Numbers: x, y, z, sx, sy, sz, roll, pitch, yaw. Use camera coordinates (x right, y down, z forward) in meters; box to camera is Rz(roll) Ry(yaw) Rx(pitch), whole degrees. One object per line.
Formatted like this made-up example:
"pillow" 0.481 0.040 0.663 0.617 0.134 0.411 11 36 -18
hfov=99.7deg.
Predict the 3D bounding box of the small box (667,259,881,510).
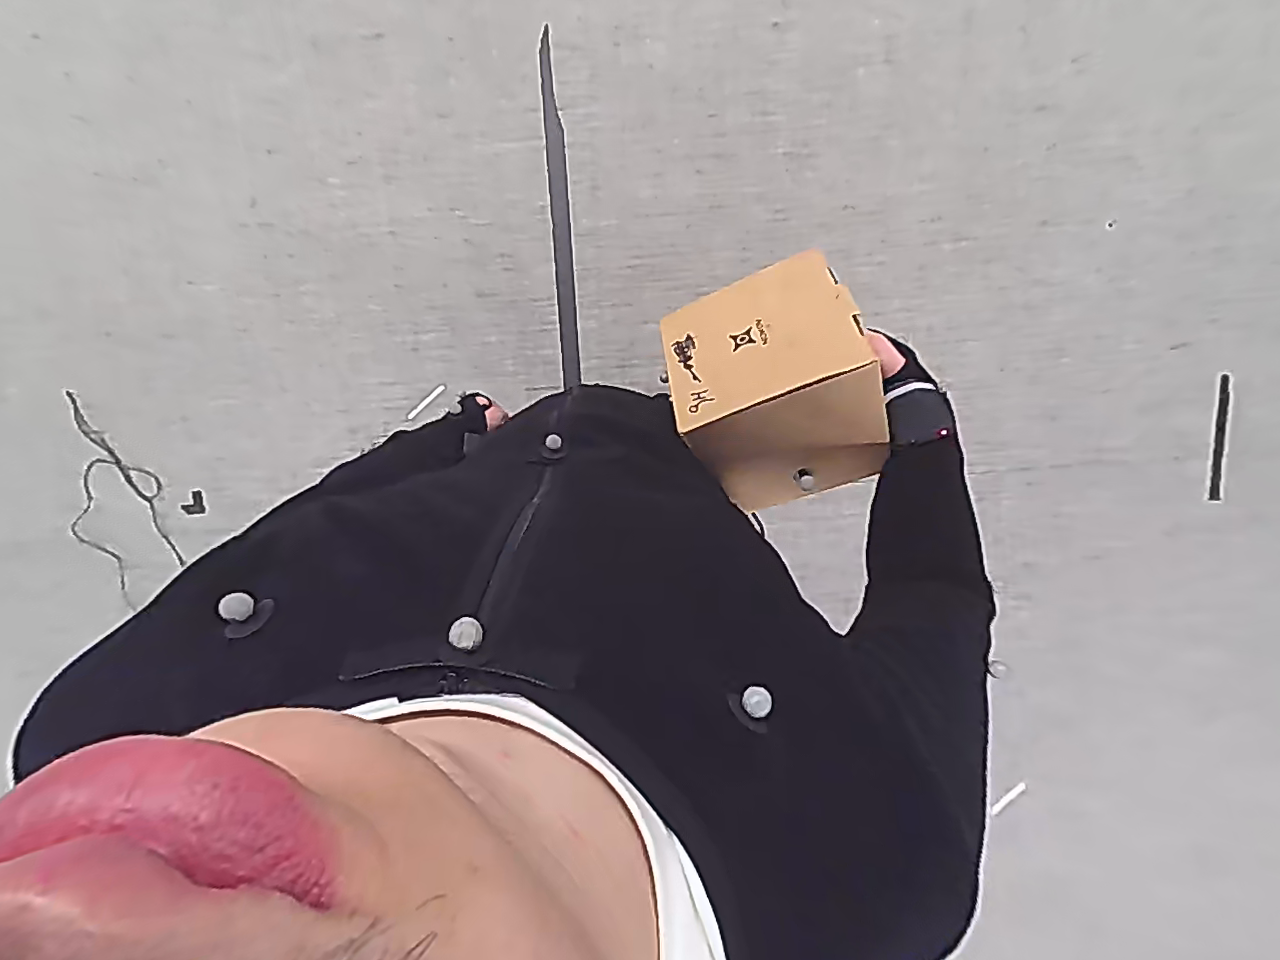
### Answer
"small box" 0.147 -0.093 0.585 0.179 0.168 0.176 -19 141 17
